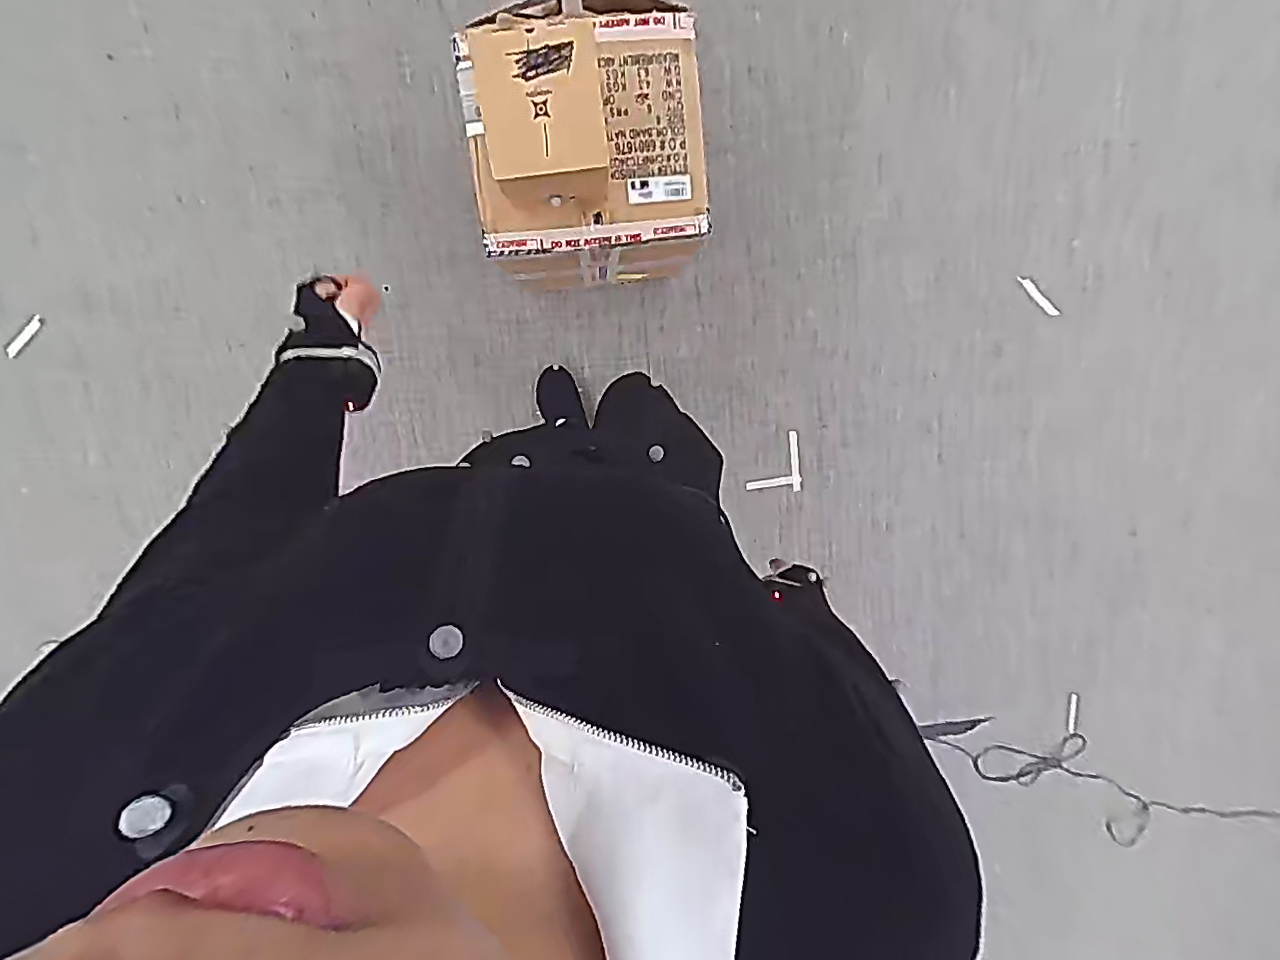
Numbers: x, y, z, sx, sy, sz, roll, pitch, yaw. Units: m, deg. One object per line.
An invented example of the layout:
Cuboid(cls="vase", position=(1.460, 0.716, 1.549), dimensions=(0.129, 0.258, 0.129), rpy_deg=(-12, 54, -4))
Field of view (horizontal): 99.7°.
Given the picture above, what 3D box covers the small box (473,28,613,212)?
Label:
Cuboid(cls="small box", position=(-0.134, -0.520, 0.804), dimensions=(0.168, 0.176, 0.179), rpy_deg=(-8, 106, -1))
